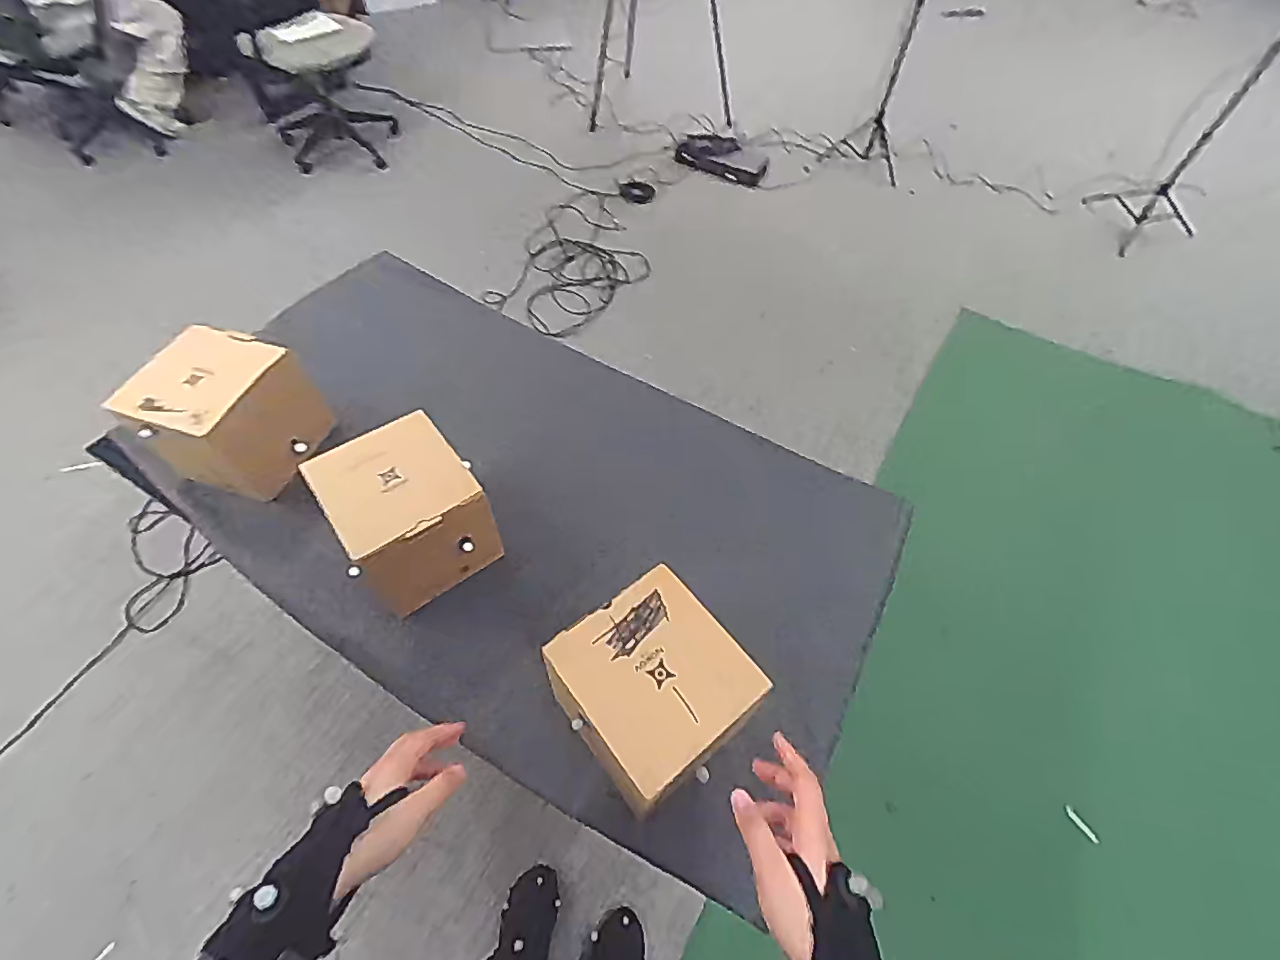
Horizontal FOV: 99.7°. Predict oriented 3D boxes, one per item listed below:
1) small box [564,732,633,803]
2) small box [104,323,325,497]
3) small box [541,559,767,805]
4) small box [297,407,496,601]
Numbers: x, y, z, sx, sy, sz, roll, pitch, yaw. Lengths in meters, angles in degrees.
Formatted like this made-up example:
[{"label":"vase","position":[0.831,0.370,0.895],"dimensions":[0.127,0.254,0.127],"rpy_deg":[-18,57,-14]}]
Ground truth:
[{"label":"small box","position":[-0.053,0.610,1.232],"dimensions":[0.168,0.176,0.179],"rpy_deg":[23,58,12]},{"label":"small box","position":[-0.620,-0.104,0.824],"dimensions":[0.168,0.176,0.179],"rpy_deg":[15,57,9]},{"label":"small box","position":[0.008,0.229,0.608],"dimensions":[0.168,0.176,0.179],"rpy_deg":[-32,61,-23]},{"label":"small box","position":[-0.317,0.041,0.734],"dimensions":[0.168,0.176,0.179],"rpy_deg":[-33,61,-25]}]
